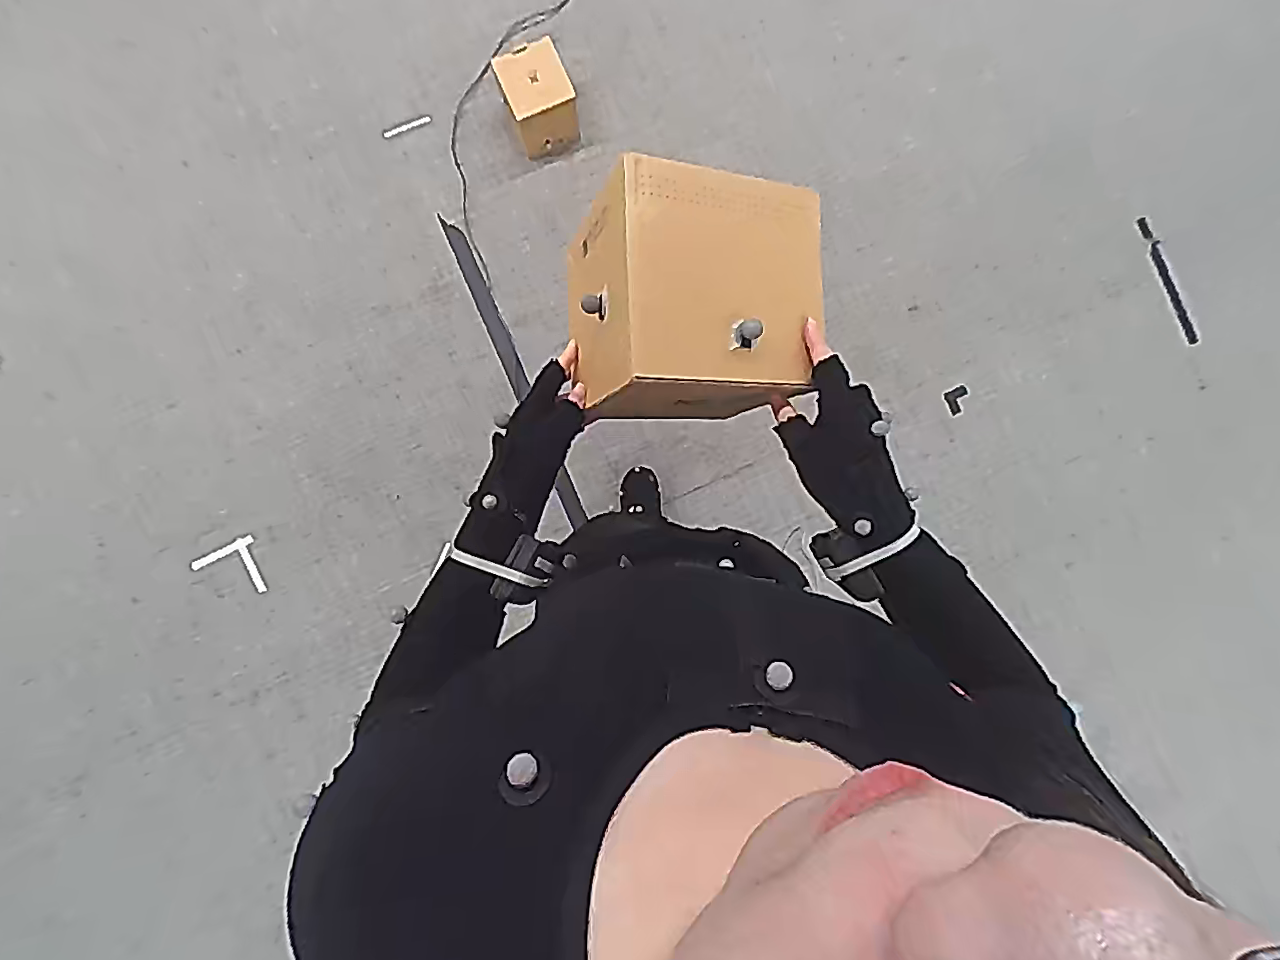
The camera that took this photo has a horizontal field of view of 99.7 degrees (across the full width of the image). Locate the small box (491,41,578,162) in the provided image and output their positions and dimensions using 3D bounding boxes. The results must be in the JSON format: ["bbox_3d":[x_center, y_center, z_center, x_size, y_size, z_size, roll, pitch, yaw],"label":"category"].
[{"bbox_3d":[-0.277,-1.008,1.454,0.168,0.176,0.179,-24,90,-2],"label":"small box"}]

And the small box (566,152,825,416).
[{"bbox_3d":[0.037,-0.157,0.484,0.179,0.168,0.176,-3,88,-23],"label":"small box"}]
